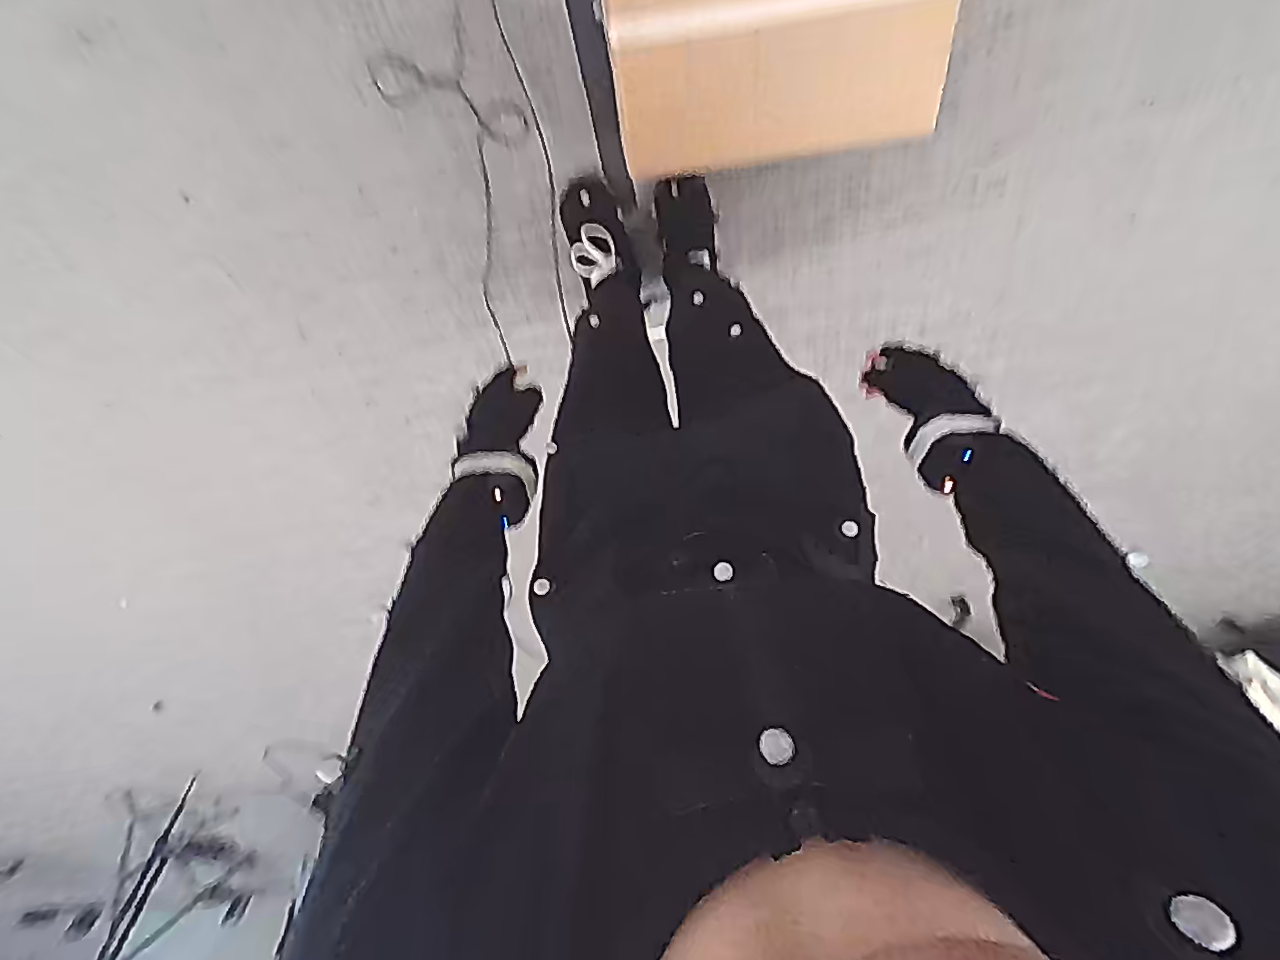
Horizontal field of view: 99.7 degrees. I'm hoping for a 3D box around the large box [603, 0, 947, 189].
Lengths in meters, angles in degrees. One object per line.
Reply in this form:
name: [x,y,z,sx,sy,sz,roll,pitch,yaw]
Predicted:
large box: [0.156,-0.637,0.747,0.408,0.320,0.320,-7,130,2]
